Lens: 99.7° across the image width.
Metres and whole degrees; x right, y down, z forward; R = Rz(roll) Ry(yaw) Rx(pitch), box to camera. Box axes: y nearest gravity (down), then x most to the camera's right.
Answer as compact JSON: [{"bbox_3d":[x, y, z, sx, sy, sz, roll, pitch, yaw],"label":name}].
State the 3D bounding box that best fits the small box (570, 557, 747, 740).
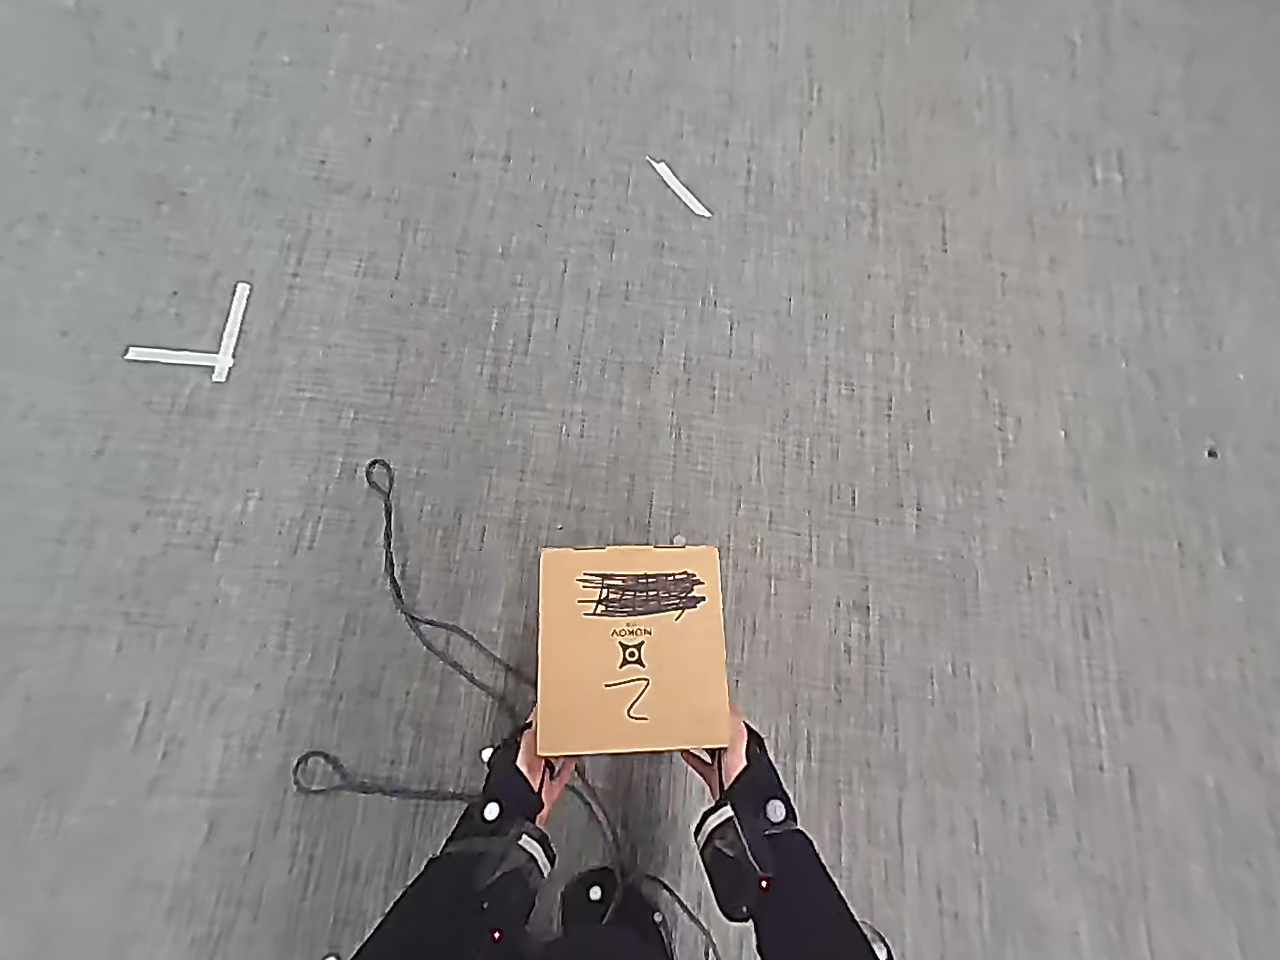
[{"bbox_3d":[0.013,0.214,0.668,0.168,0.176,0.179,10,56,-20],"label":"small box"}]
